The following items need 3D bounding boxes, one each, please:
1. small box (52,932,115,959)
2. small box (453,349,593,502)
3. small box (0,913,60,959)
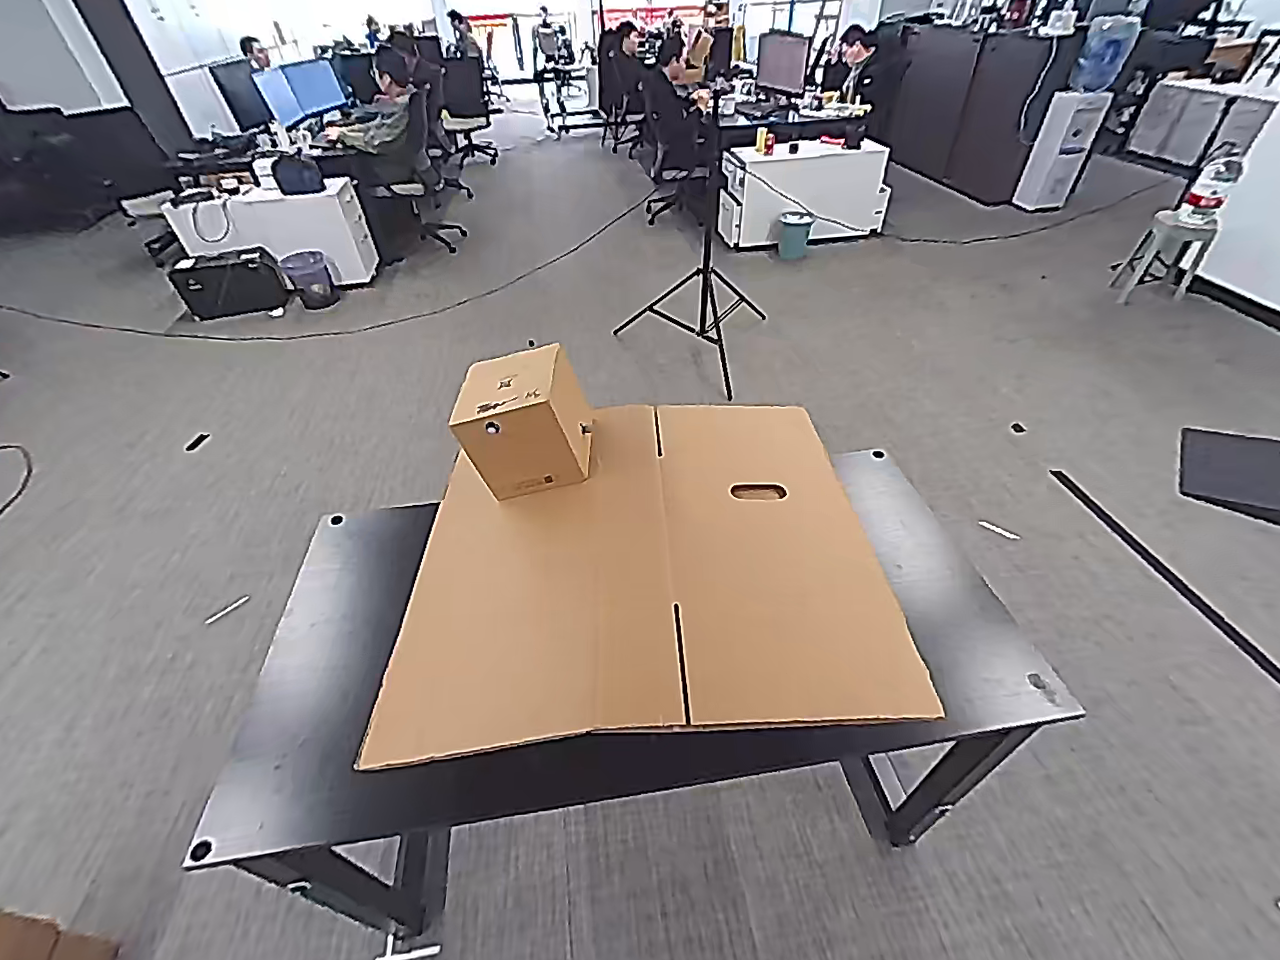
[{"bbox_3d":[-1.200,1.031,1.060,0.168,0.176,0.179,-10,43,-7],"label":"small box"},{"bbox_3d":[-0.184,-0.091,0.917,0.168,0.176,0.179,-13,40,10],"label":"small box"},{"bbox_3d":[-1.208,0.907,0.955,0.168,0.176,0.179,-11,42,-11],"label":"small box"}]
